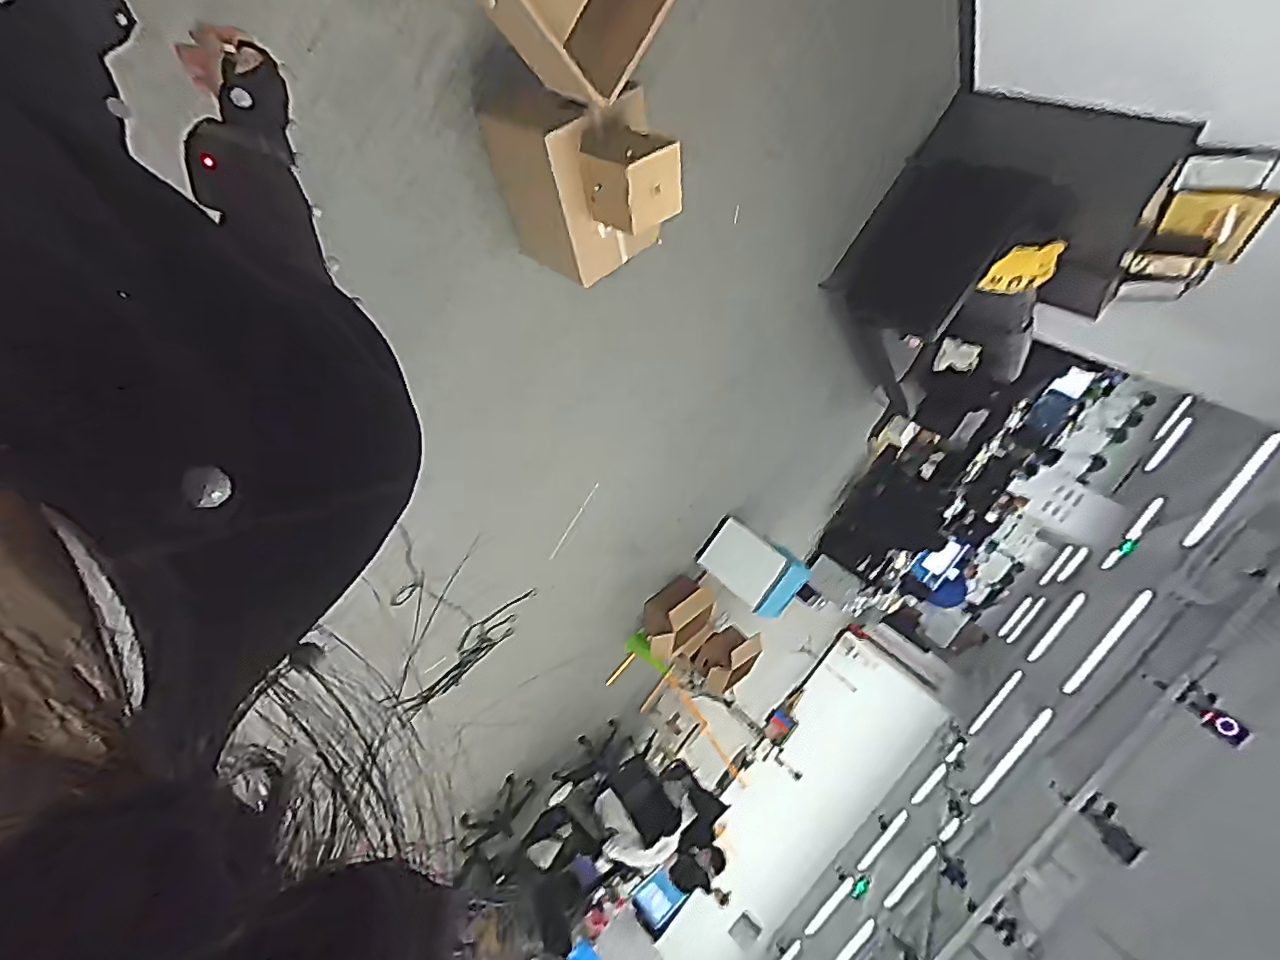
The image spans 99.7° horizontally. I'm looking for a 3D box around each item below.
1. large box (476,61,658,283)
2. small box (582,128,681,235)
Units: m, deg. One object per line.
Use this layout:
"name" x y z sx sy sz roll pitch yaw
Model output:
"large box" -0.181 -0.841 1.488 0.320 0.320 0.408 -39 149 -18
"small box" -0.017 -0.740 1.332 0.179 0.176 0.168 -38 147 -22
